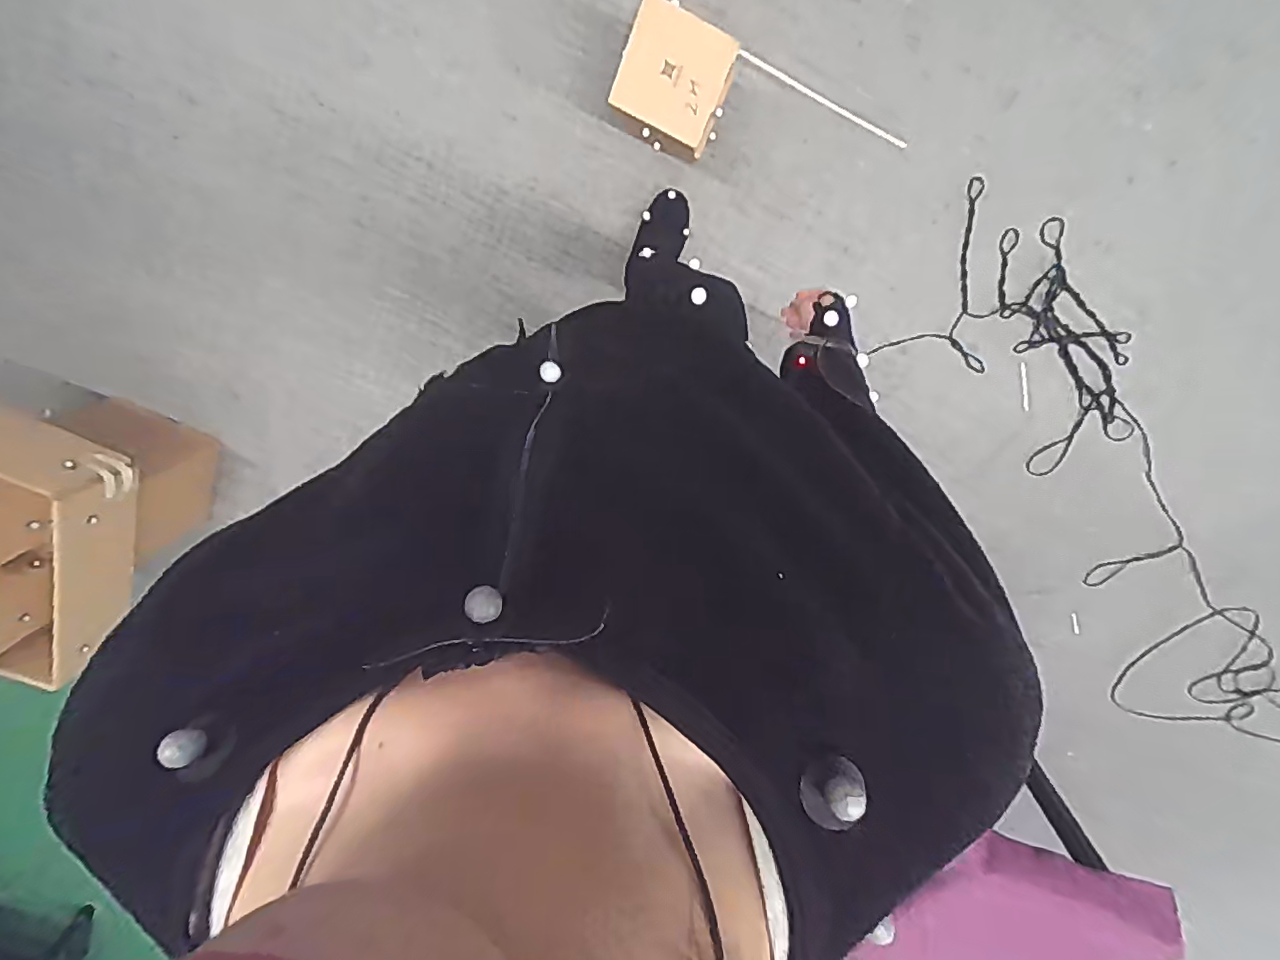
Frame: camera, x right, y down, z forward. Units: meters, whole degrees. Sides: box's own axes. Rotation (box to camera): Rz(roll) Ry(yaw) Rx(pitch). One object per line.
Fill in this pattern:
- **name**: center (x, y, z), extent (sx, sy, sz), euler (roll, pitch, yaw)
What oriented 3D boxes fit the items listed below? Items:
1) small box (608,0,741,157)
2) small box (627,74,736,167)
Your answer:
- **small box**: center (0.059, -0.710, 0.978), extent (0.179, 0.176, 0.168), euler (24, 116, -8)
- **small box**: center (0.078, -0.776, 1.128), extent (0.179, 0.176, 0.168), euler (23, 115, -8)
